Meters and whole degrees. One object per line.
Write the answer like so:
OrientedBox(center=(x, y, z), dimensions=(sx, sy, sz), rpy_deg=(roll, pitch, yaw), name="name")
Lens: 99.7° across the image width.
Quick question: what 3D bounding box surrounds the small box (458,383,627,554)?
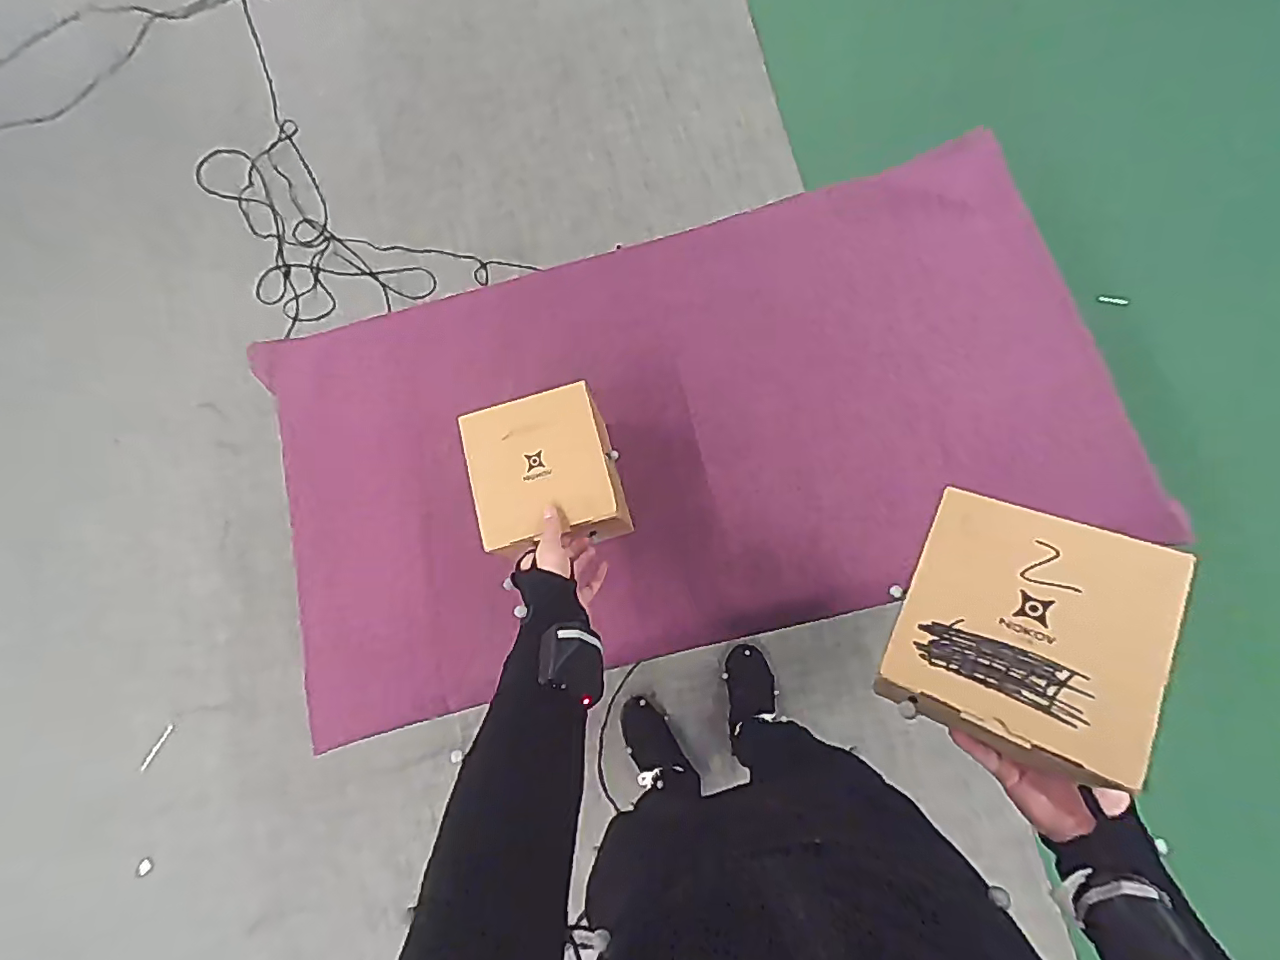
OrientedBox(center=(-0.121, -0.003, 0.728), dimensions=(0.168, 0.176, 0.179), rpy_deg=(-15, 76, 2), name="small box")
